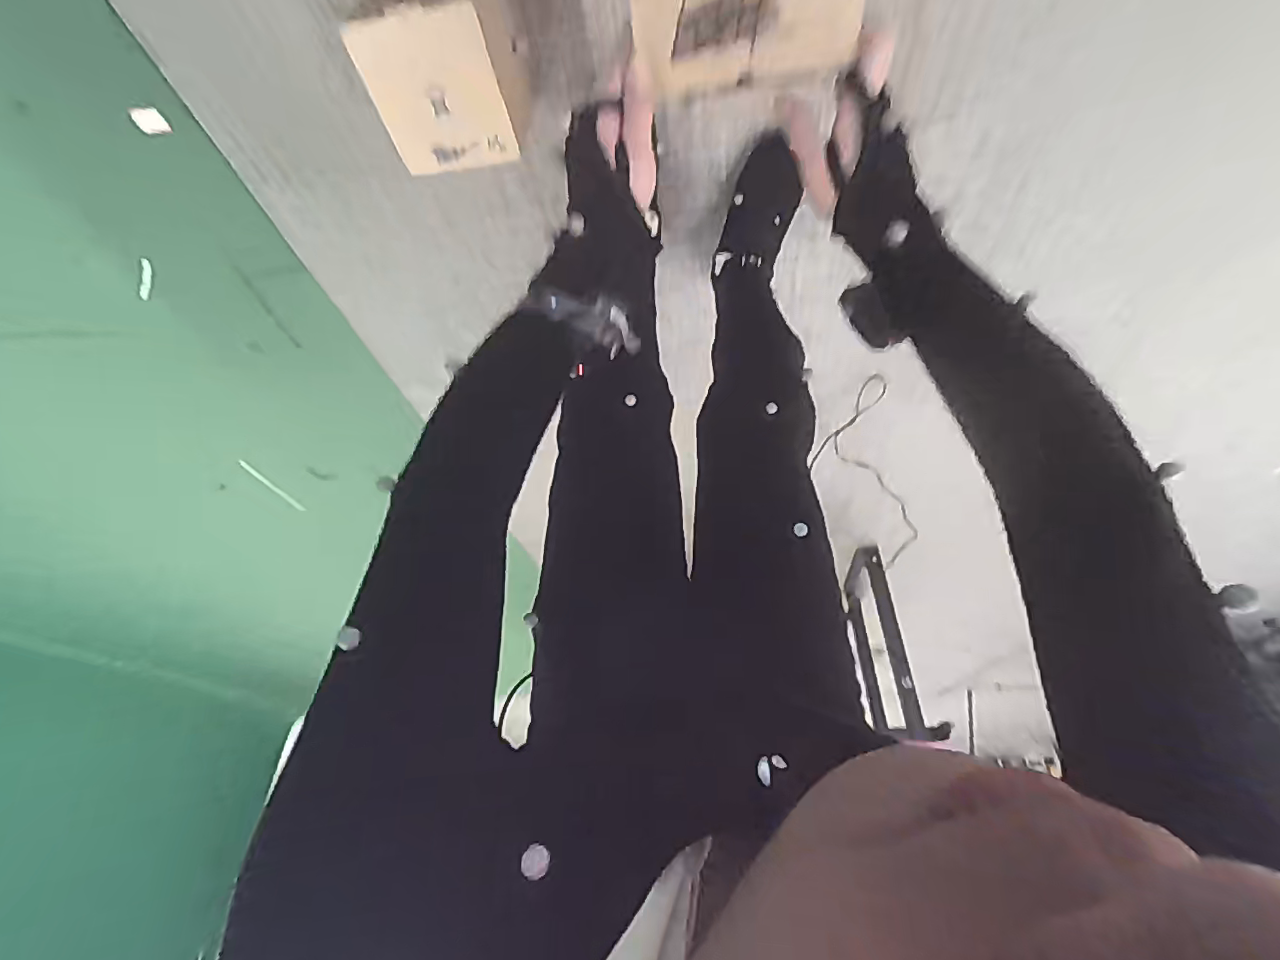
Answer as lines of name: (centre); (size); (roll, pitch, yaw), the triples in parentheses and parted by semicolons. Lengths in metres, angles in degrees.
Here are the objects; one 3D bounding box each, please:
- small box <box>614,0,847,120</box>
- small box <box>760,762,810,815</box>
small box: (0.071, -0.404, 0.431); (0.168, 0.176, 0.179); (-1, 124, 10)
small box: (0.559, 1.203, 2.104); (0.168, 0.176, 0.179); (-5, 146, 10)
